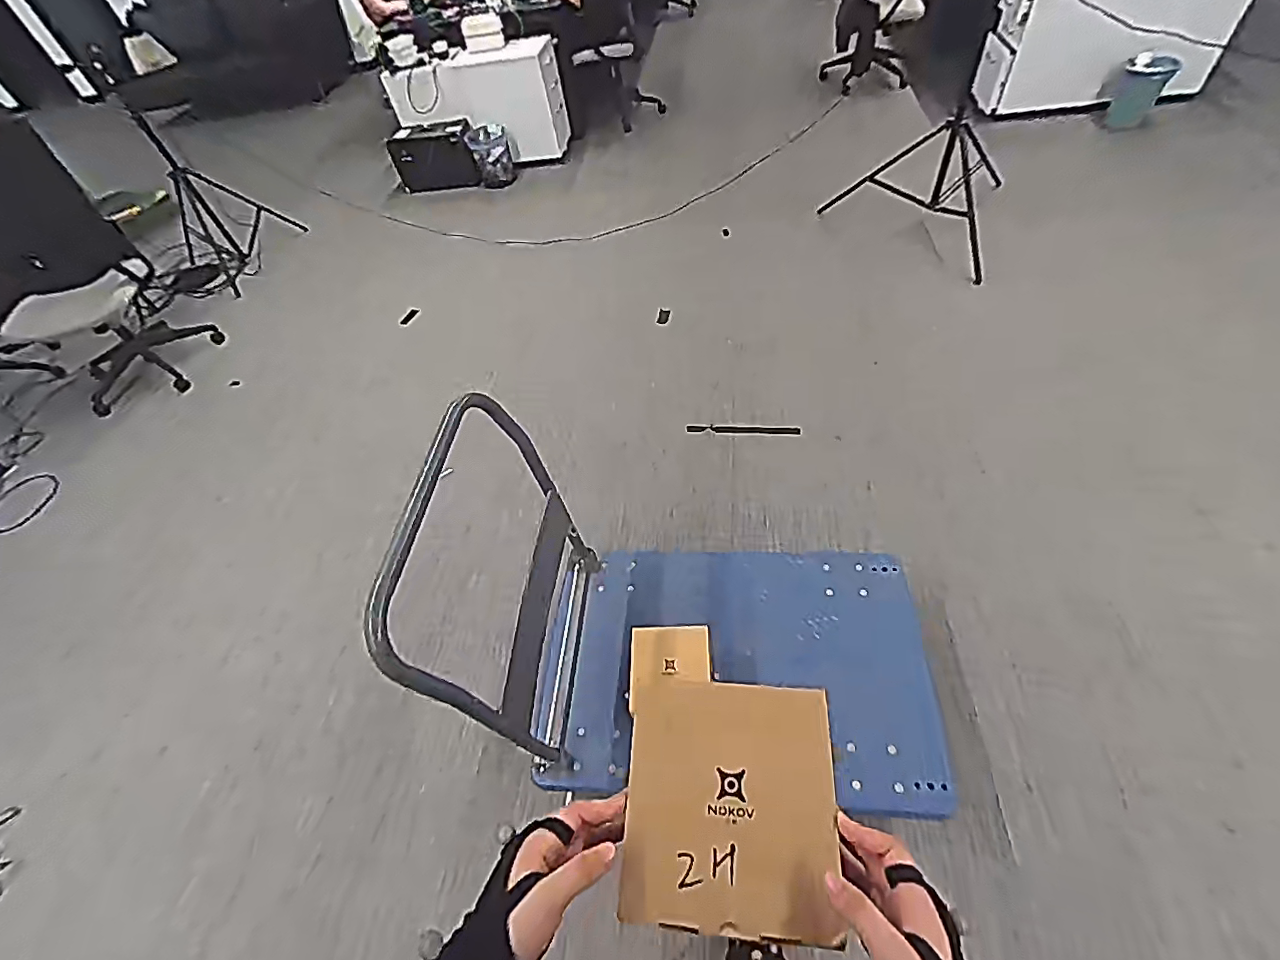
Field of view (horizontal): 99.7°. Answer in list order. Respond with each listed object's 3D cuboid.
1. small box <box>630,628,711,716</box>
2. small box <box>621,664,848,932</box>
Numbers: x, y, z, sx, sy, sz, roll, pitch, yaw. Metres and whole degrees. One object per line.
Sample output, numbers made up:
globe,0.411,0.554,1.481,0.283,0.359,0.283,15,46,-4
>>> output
small box,0.072,0.437,1.169,0.168,0.176,0.179,-4,52,7
small box,0.080,0.282,0.500,0.168,0.176,0.179,1,59,7
